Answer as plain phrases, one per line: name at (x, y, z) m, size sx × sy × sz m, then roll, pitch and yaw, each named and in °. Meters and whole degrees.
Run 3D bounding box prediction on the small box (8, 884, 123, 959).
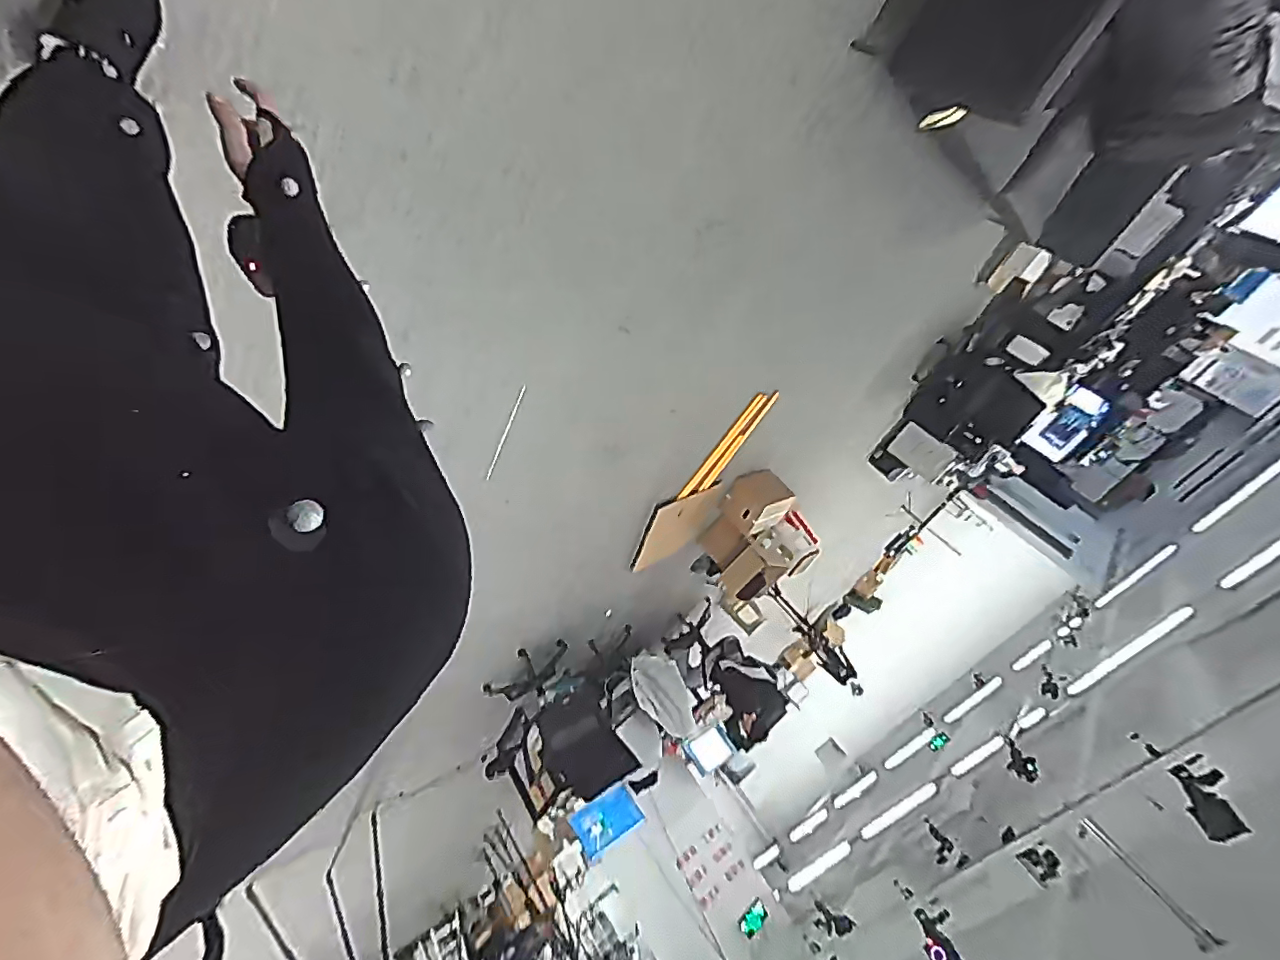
small box at (-1.403, 1.144, 1.324) m, size 0.179 × 0.176 × 0.168 m, roll -8°, pitch 136°, yaw -44°
